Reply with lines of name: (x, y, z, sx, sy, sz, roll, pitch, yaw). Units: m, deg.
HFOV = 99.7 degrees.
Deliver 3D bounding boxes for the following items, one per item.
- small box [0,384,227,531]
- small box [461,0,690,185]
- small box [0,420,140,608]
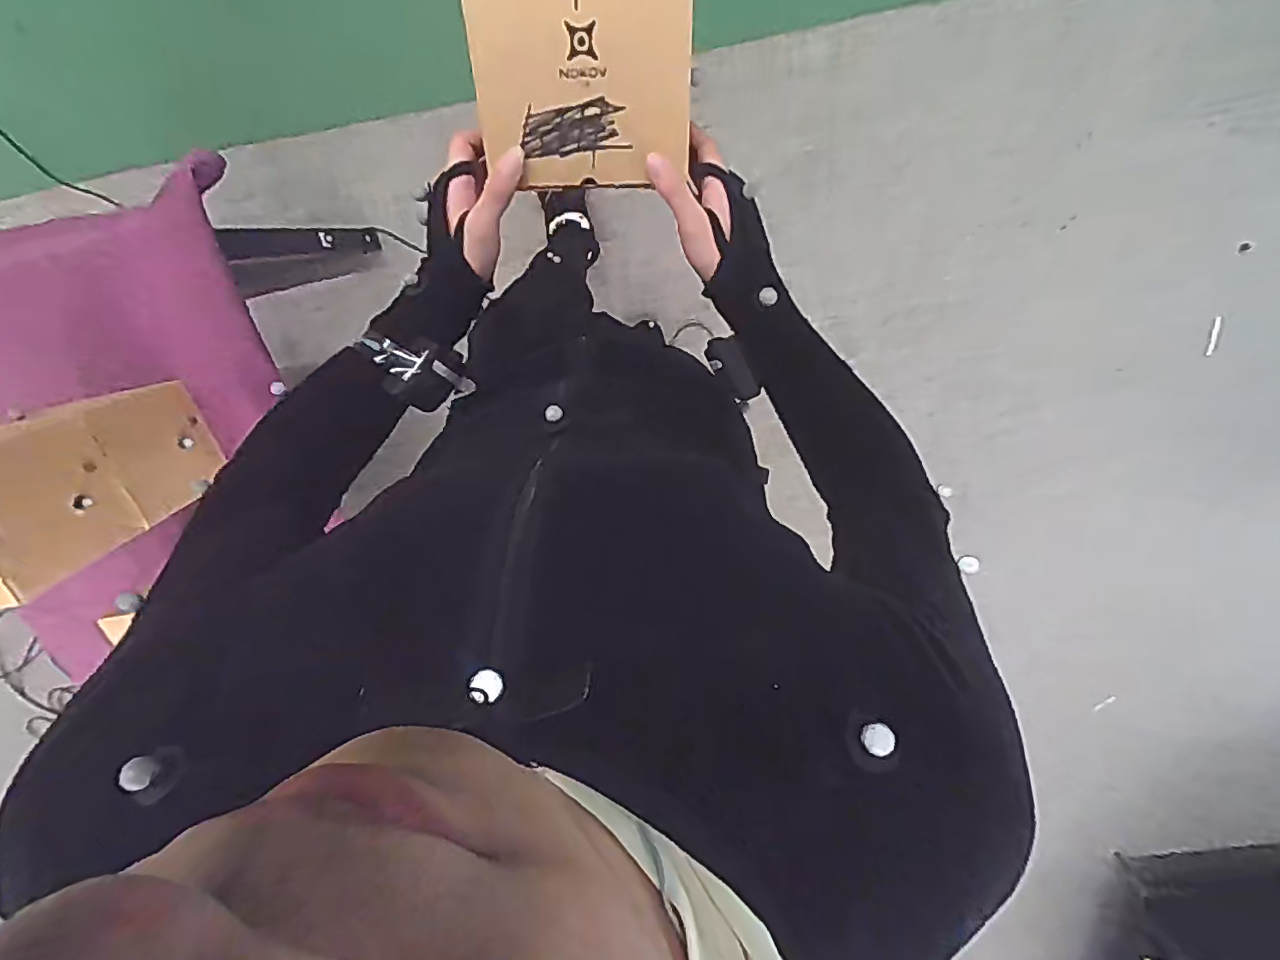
small box: (-0.762, -0.028, 0.777, 0.179, 0.176, 0.168, -10, 115, 4)
small box: (-0.045, -0.360, 0.463, 0.168, 0.176, 0.179, 0, 122, 0)
small box: (-0.764, 0.042, 0.630, 0.179, 0.176, 0.168, -10, 114, 4)
